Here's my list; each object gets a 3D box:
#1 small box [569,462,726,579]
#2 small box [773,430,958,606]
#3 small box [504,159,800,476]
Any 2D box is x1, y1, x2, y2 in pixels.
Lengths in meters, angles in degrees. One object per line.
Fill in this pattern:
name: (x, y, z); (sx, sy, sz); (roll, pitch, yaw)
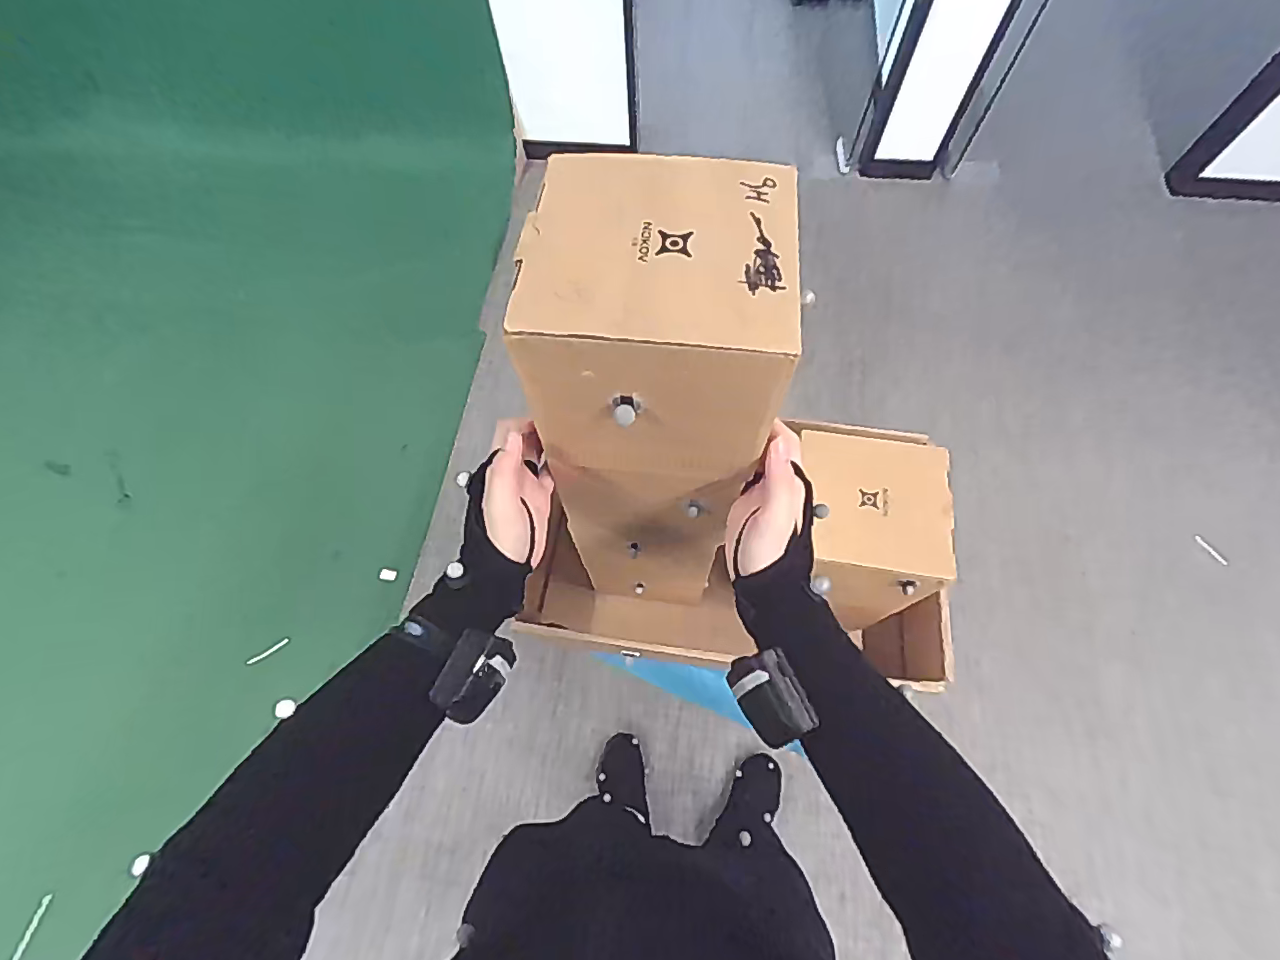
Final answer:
small box: (0.018, 0.024, 0.714); (0.179, 0.176, 0.168); (7, 65, 5)
small box: (0.273, 0.056, 0.693); (0.179, 0.176, 0.168); (8, 66, 6)
small box: (0.017, -0.114, 0.417); (0.179, 0.176, 0.168); (5, 65, 4)
